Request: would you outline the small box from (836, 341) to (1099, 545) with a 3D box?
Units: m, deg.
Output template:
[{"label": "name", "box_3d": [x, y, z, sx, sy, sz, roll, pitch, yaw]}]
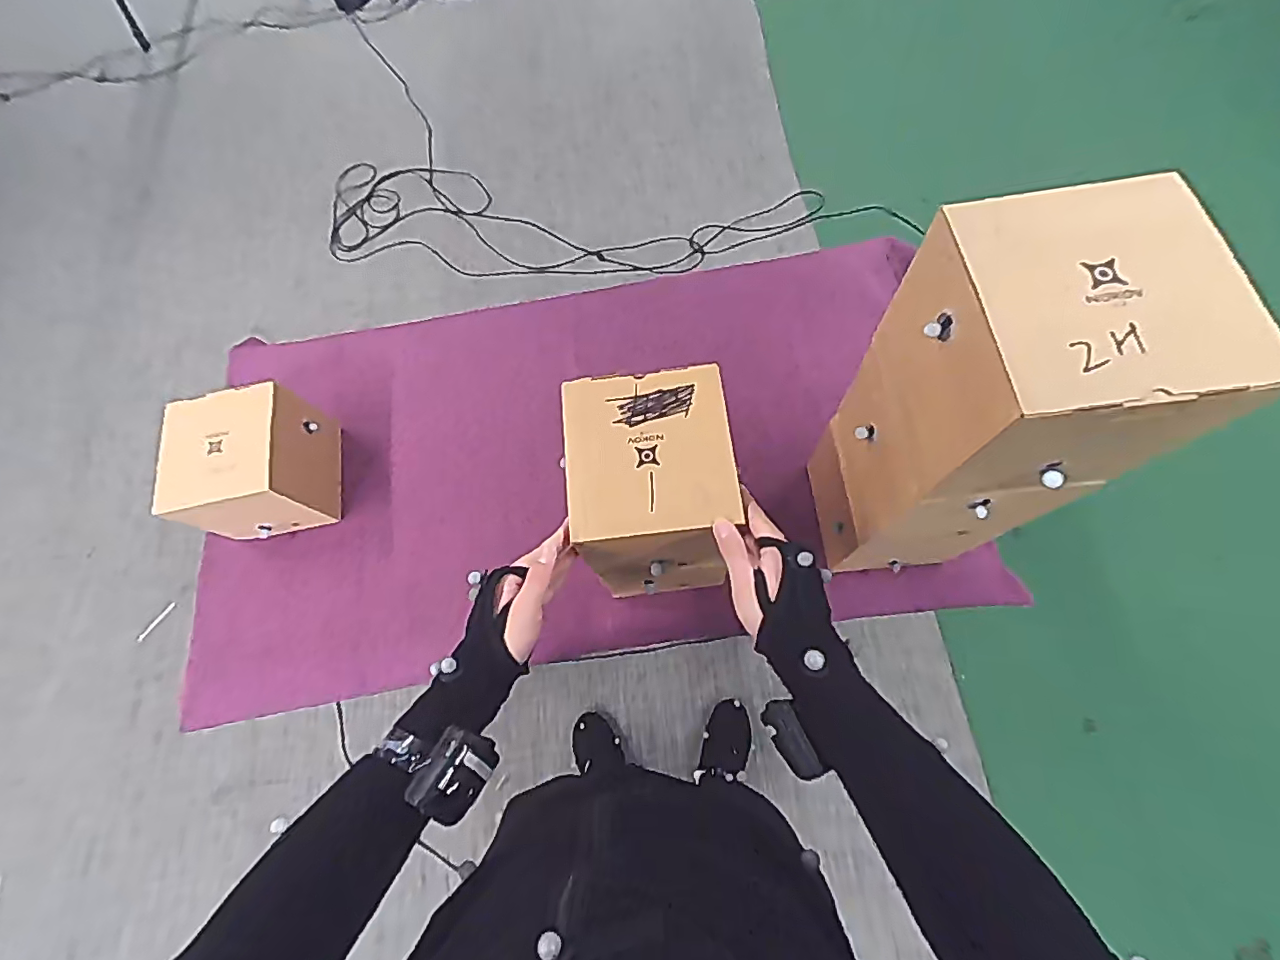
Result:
[{"label": "small box", "box_3d": [0.326, -0.039, 0.586, 0.168, 0.176, 0.179, -6, 69, 4]}]

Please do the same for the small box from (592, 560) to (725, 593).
[{"label": "small box", "box_3d": [0.024, 0.058, 0.756, 0.168, 0.176, 0.179, -7, 68, 3]}]

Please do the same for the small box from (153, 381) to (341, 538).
[{"label": "small box", "box_3d": [-0.589, -0.025, 0.835, 0.168, 0.176, 0.179, -11, 70, 1]}]

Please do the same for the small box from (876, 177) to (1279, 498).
[{"label": "small box", "box_3d": [0.310, -0.100, 0.434, 0.168, 0.176, 0.179, -7, 70, 4]}]

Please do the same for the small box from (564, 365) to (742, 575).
[{"label": "small box", "box_3d": [0.013, -0.002, 0.603, 0.168, 0.176, 0.179, -7, 69, 3]}]
